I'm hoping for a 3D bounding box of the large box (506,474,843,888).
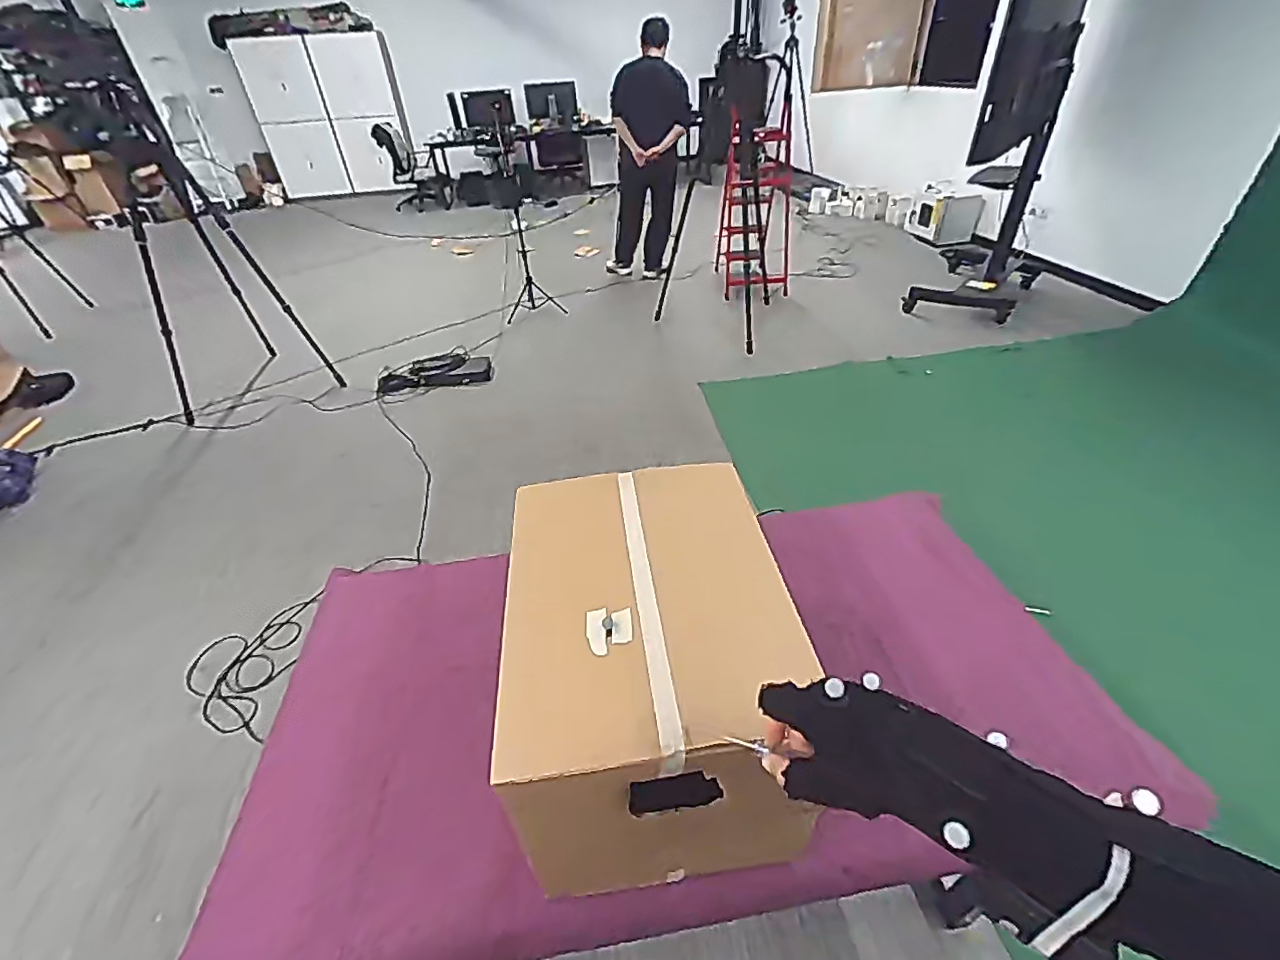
[{"bbox_3d":[0.013,0.242,0.723,0.320,0.320,0.408,-7,39,-4],"label":"large box"}]
